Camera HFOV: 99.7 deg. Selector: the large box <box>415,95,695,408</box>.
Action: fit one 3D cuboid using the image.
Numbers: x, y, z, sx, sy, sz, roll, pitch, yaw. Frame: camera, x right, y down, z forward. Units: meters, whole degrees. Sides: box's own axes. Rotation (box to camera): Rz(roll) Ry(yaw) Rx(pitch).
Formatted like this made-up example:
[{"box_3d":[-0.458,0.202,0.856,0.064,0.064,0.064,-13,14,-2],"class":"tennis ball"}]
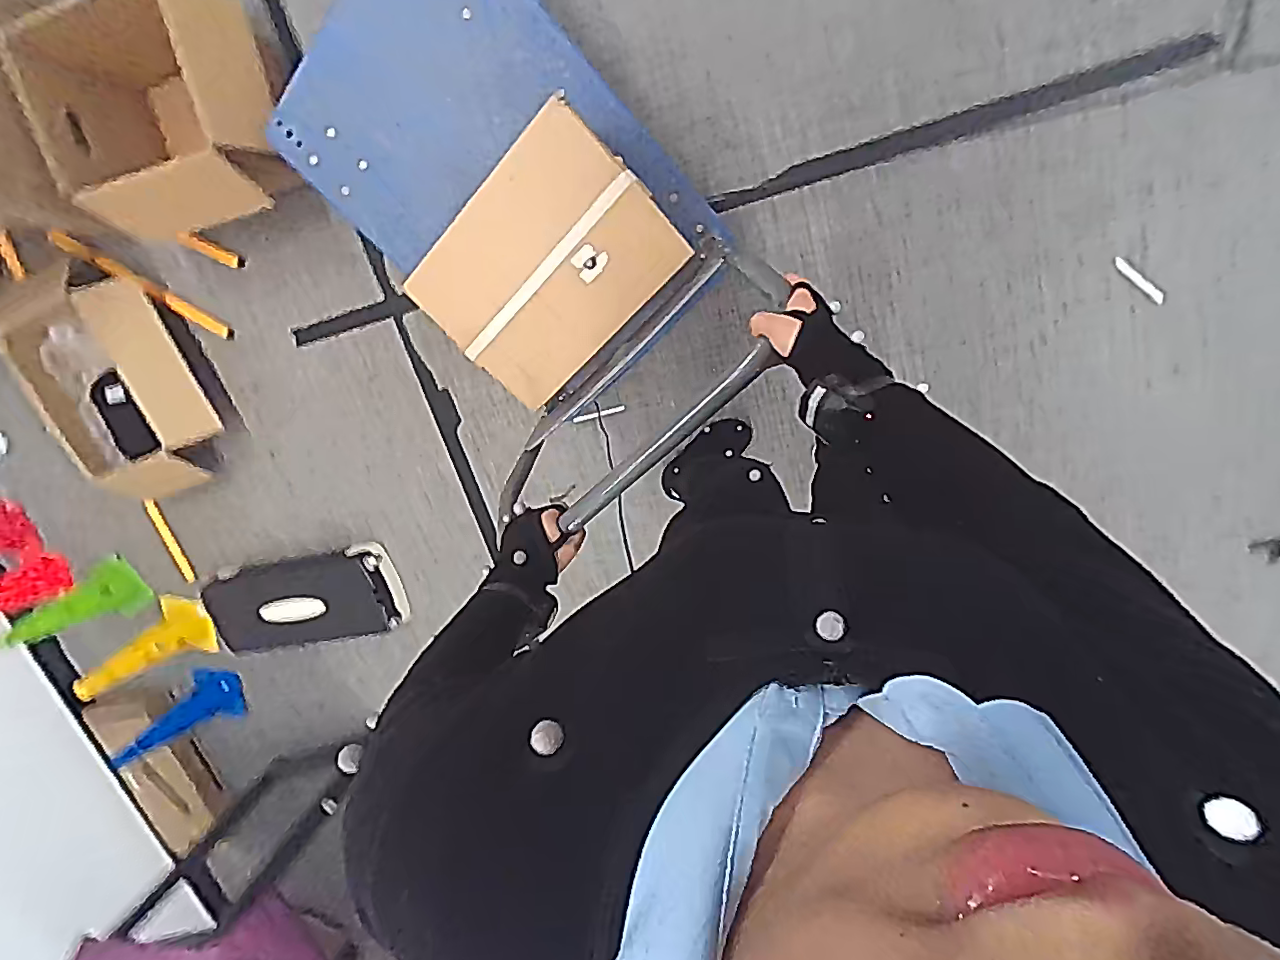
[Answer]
[{"box_3d":[-0.144,-0.416,1.053,0.408,0.320,0.320,-41,106,18],"class":"large box"}]
